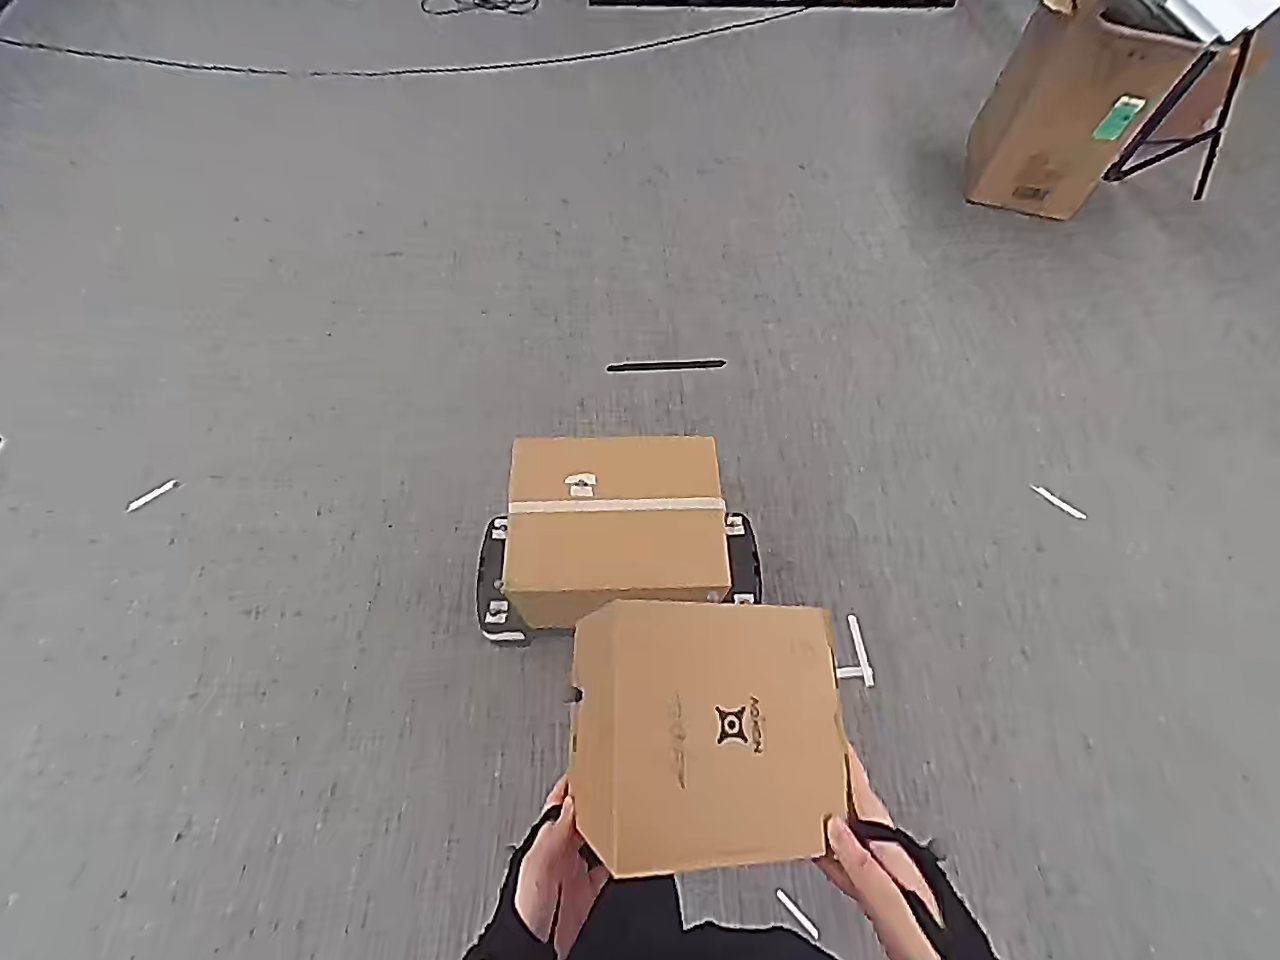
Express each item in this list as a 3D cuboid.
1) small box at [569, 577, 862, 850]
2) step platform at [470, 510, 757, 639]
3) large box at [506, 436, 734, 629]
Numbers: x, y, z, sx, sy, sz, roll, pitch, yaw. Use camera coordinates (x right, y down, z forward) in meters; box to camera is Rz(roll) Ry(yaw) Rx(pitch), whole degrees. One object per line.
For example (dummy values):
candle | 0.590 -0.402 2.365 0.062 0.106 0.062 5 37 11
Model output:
small box | 0.047 0.181 0.442 0.179 0.176 0.168 7 68 -15
step platform | -0.060 0.249 1.338 0.684 0.204 0.286 3 63 1
large box | -0.039 0.123 1.135 0.408 0.320 0.320 -2 62 -1
